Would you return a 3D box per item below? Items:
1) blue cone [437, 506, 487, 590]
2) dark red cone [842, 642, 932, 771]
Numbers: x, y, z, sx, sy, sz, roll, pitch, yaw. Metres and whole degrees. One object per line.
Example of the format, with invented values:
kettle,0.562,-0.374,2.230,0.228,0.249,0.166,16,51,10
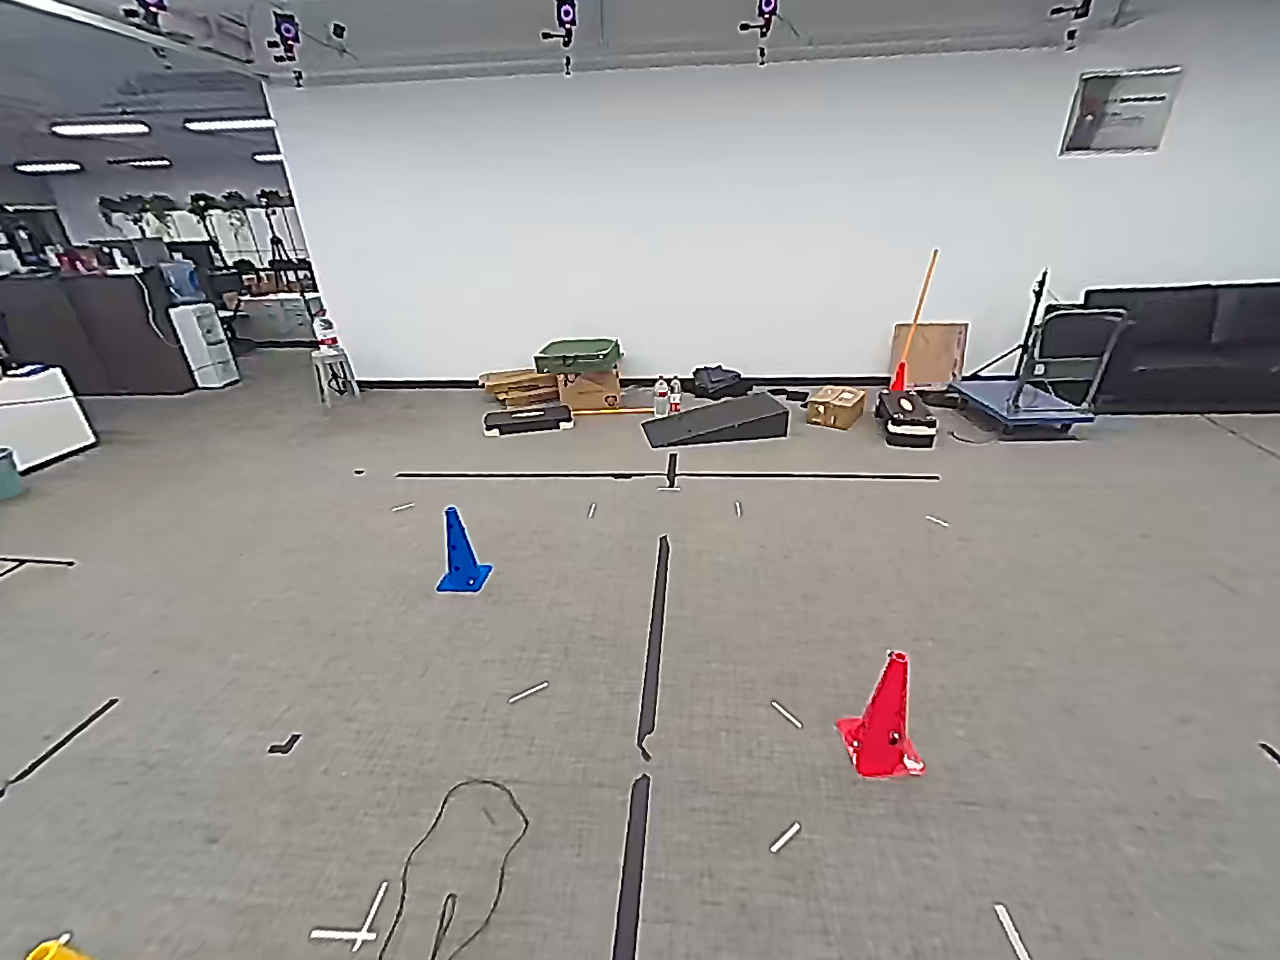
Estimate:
blue cone,-0.801,0.287,2.356,0.192,0.380,0.193,0,26,6
dark red cone,0.713,0.614,1.519,0.201,0.394,0.202,-3,26,-1
